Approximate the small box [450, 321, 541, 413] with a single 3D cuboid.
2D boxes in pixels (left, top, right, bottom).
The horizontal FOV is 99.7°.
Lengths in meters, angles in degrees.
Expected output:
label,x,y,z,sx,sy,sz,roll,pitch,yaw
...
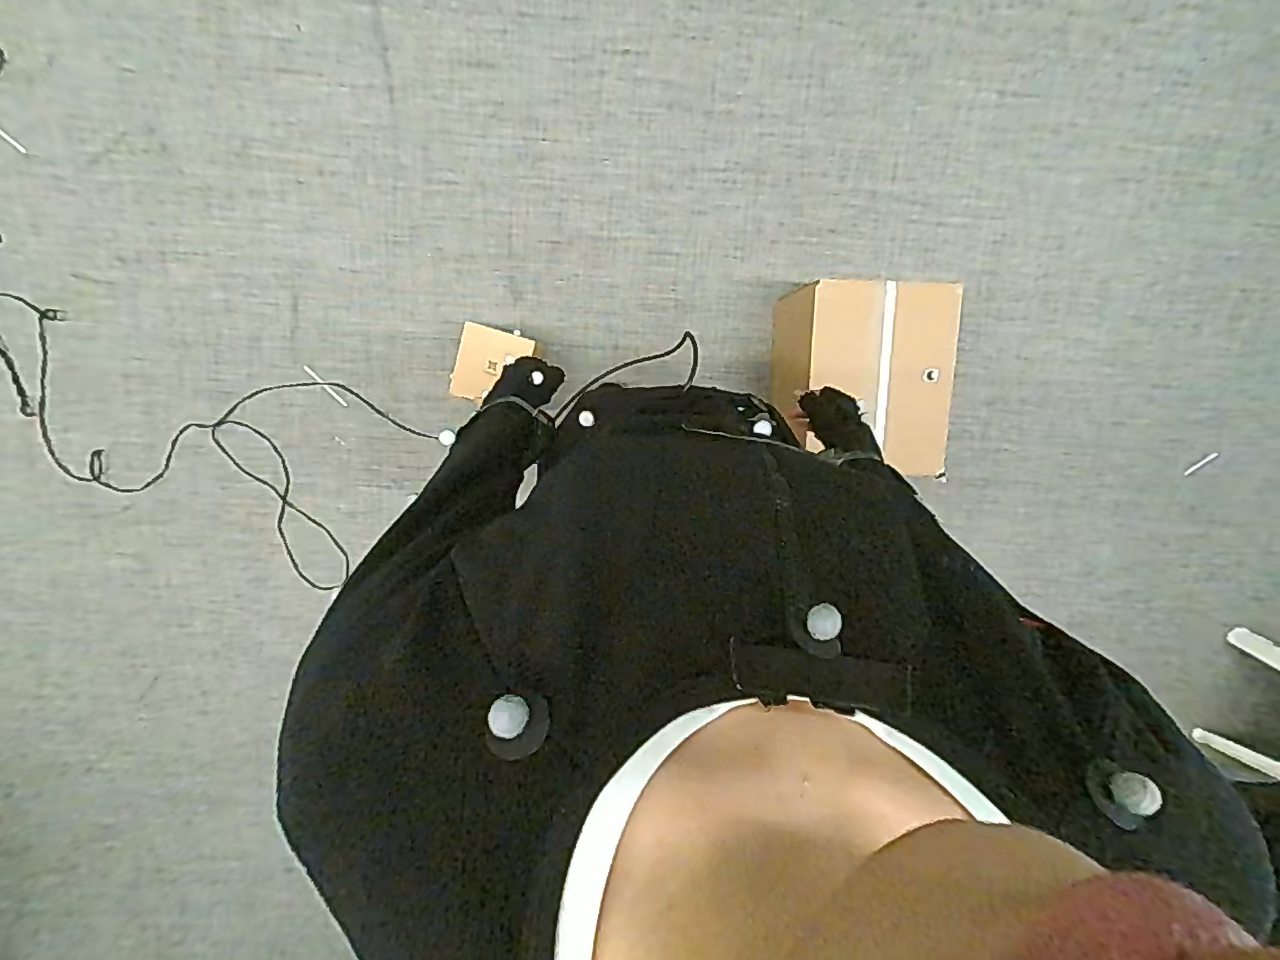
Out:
label,x,y,z,sx,sy,sz,roll,pitch,yaw
small box,-0.347,-0.277,1.334,0.168,0.176,0.179,15,101,-5
